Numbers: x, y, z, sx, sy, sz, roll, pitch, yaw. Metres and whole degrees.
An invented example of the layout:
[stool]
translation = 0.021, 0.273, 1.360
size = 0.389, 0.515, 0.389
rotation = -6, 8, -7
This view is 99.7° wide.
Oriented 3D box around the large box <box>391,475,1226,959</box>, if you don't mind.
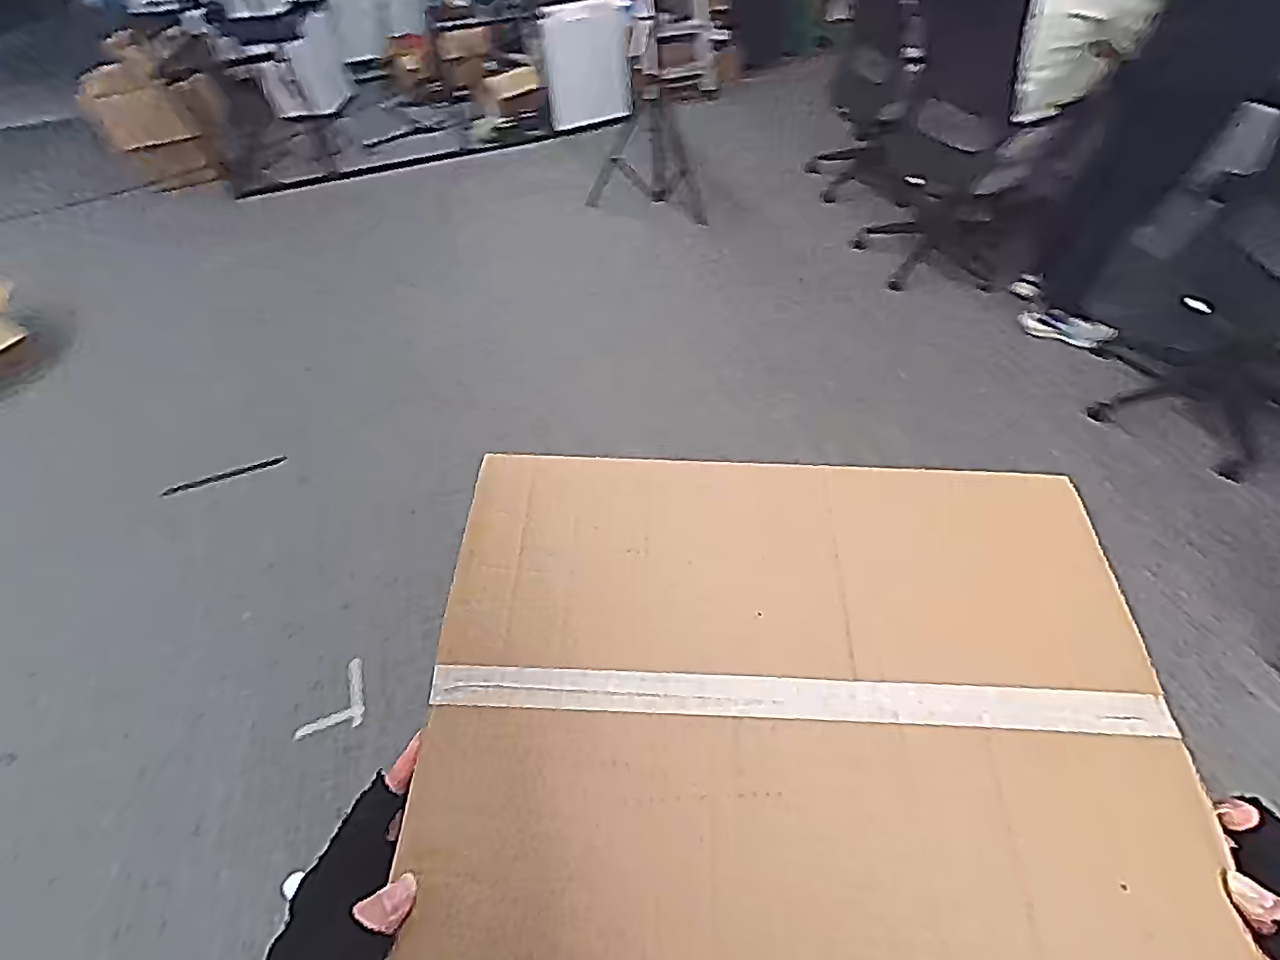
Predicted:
[large box]
translation = 0.079, 0.205, 0.443
size = 0.408, 0.320, 0.320
rotation = 1, 60, 1
